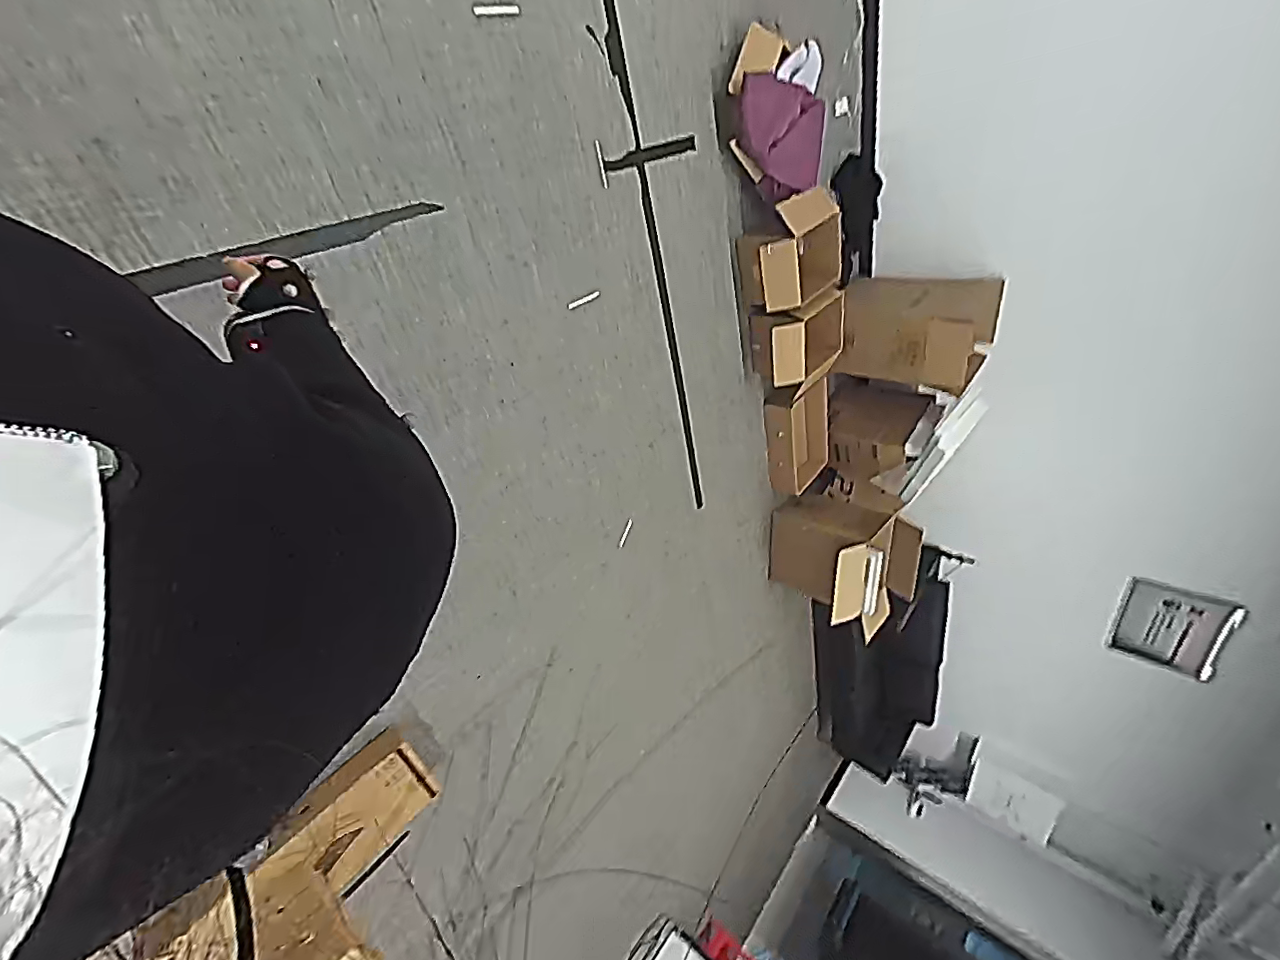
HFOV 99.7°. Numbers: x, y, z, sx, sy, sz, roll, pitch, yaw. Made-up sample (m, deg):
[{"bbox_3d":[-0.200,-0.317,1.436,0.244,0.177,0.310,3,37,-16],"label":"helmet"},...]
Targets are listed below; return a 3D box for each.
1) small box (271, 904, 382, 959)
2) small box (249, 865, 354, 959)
[{"bbox_3d":[-0.799,1.241,1.384,0.168,0.176,0.179,-44,133,-31],"label":"small box"},{"bbox_3d":[-0.925,1.206,1.481,0.168,0.176,0.179,-41,132,-32],"label":"small box"}]
